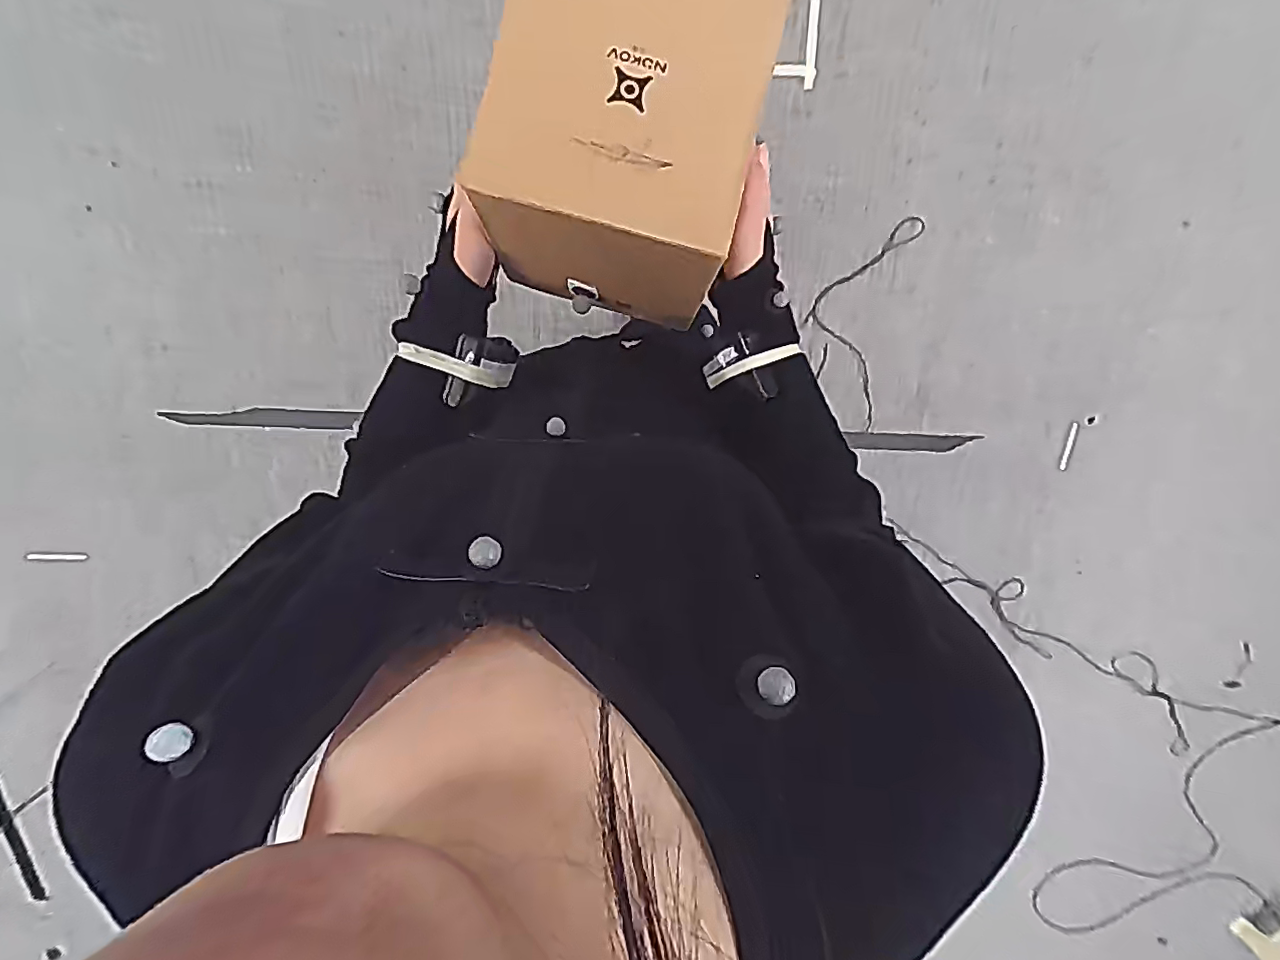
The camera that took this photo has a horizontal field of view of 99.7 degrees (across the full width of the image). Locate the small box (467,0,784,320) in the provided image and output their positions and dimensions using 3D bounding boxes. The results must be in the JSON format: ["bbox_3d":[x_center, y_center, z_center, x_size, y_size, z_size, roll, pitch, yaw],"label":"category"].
[{"bbox_3d":[-0.012,-0.244,0.408,0.168,0.176,0.179,13,90,-3],"label":"small box"}]

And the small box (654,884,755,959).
[{"bbox_3d":[0.115,0.874,0.975,0.168,0.176,0.179,-2,109,-4],"label":"small box"}]
